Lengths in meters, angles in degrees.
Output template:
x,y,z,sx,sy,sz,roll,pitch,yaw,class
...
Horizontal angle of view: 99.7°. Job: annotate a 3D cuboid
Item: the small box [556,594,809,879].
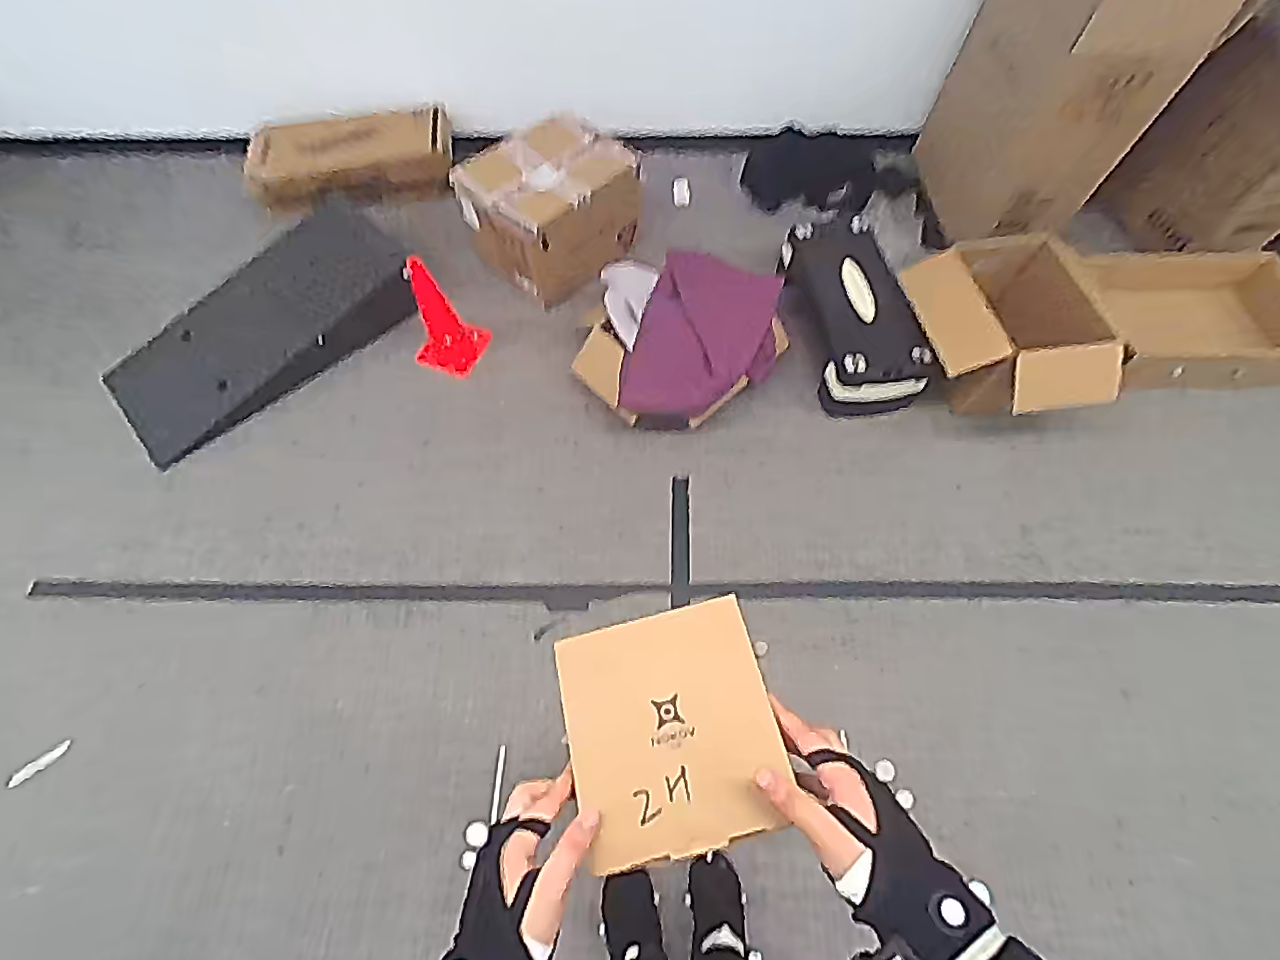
x,y,z,sx,sy,sz,roll,pitch,yaw,class
0.034,0.226,0.492,0.168,0.176,0.179,-16,63,1,small box
